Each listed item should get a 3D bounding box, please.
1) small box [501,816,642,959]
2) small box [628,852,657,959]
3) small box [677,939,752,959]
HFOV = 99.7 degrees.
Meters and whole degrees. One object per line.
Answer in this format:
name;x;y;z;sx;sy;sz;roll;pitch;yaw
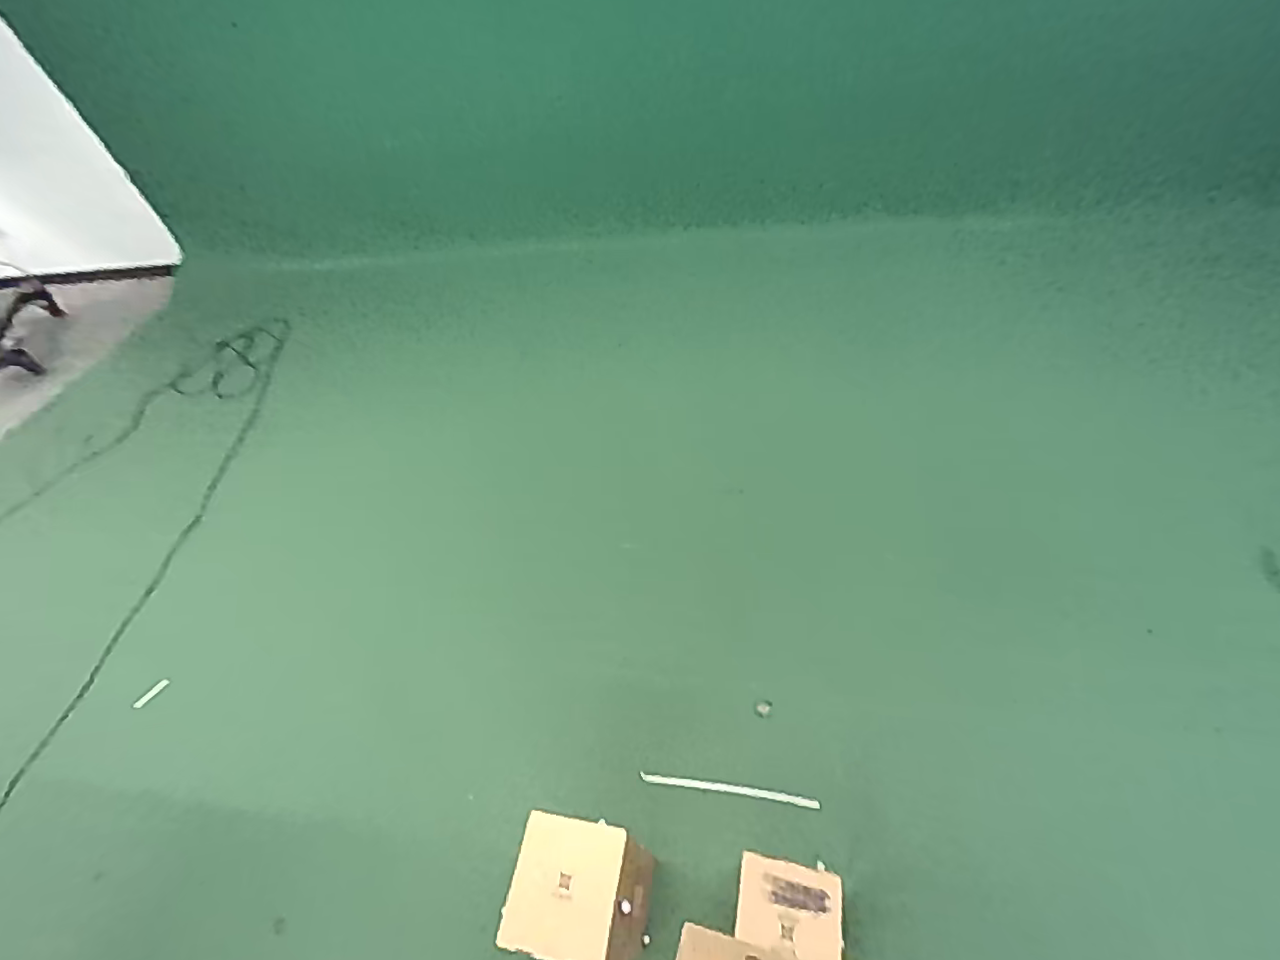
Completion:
small box;-0.097;0.677;0.880;0.168;0.176;0.179;3;50;14
small box;-0.072;0.781;1.004;0.179;0.176;0.168;2;50;15
small box;0.085;0.492;0.384;0.168;0.176;0.179;13;91;8
